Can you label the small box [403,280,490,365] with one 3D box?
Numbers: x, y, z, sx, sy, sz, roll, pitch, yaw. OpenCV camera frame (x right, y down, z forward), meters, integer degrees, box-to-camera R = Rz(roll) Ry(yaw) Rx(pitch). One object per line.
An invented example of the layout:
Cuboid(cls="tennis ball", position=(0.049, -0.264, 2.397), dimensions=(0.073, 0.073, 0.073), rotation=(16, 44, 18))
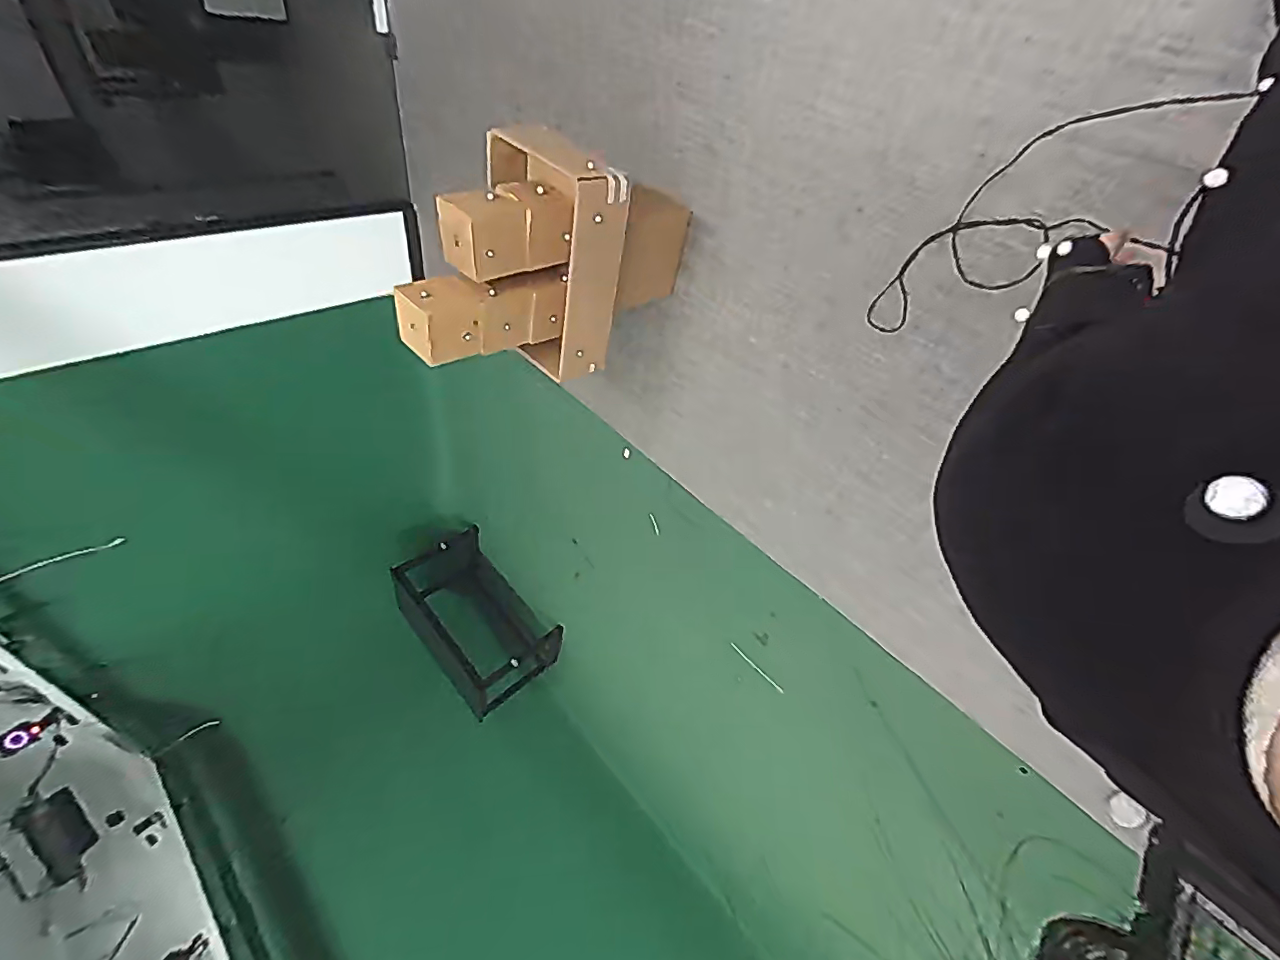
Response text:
Cuboid(cls="small box", position=(-0.547, -0.455, 1.540), dimensions=(0.179, 0.176, 0.168), rotation=(40, 139, 26))
